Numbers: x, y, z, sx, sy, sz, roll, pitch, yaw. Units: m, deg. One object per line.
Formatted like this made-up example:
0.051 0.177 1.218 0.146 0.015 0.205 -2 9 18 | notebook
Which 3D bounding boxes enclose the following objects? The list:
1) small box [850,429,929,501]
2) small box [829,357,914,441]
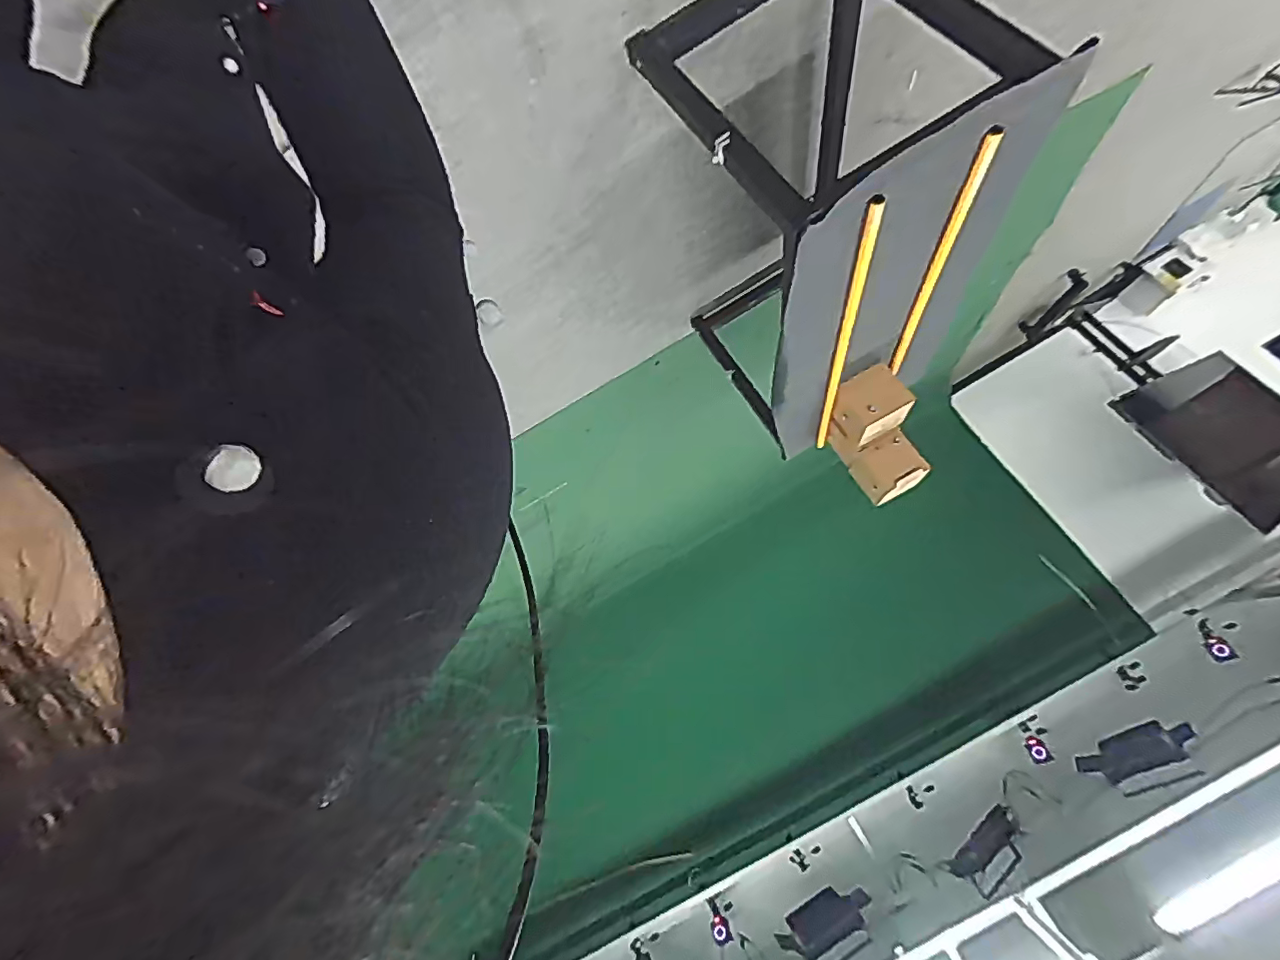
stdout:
0.868 -0.057 1.904 0.168 0.176 0.179 -28 158 -2 | small box
0.742 -0.261 1.756 0.179 0.176 0.168 -30 158 -1 | small box
